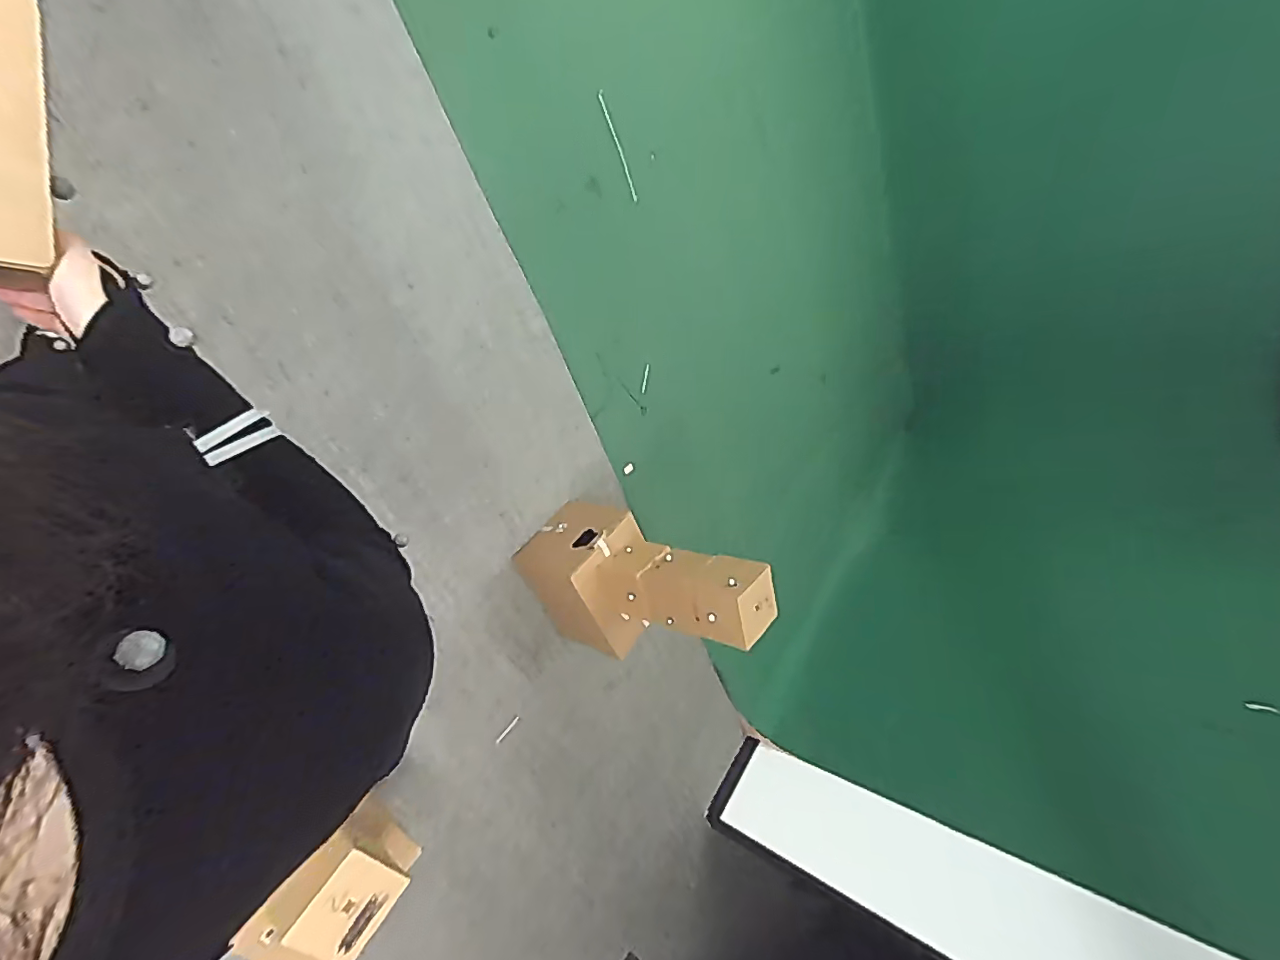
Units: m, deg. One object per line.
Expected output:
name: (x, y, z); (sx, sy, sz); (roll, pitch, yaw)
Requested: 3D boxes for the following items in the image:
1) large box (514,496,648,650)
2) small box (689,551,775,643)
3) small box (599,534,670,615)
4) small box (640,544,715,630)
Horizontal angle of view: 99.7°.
large box: (-0.164, 0.314, 1.891); (0.320, 0.320, 0.408); (-47, 128, -33)
small box: (0.249, 0.316, 1.496); (0.179, 0.176, 0.168); (-32, 117, -42)
small box: (-0.002, 0.292, 1.705); (0.168, 0.176, 0.179); (-36, 120, -39)
small box: (0.124, 0.310, 1.603); (0.168, 0.176, 0.179); (-33, 117, -41)
